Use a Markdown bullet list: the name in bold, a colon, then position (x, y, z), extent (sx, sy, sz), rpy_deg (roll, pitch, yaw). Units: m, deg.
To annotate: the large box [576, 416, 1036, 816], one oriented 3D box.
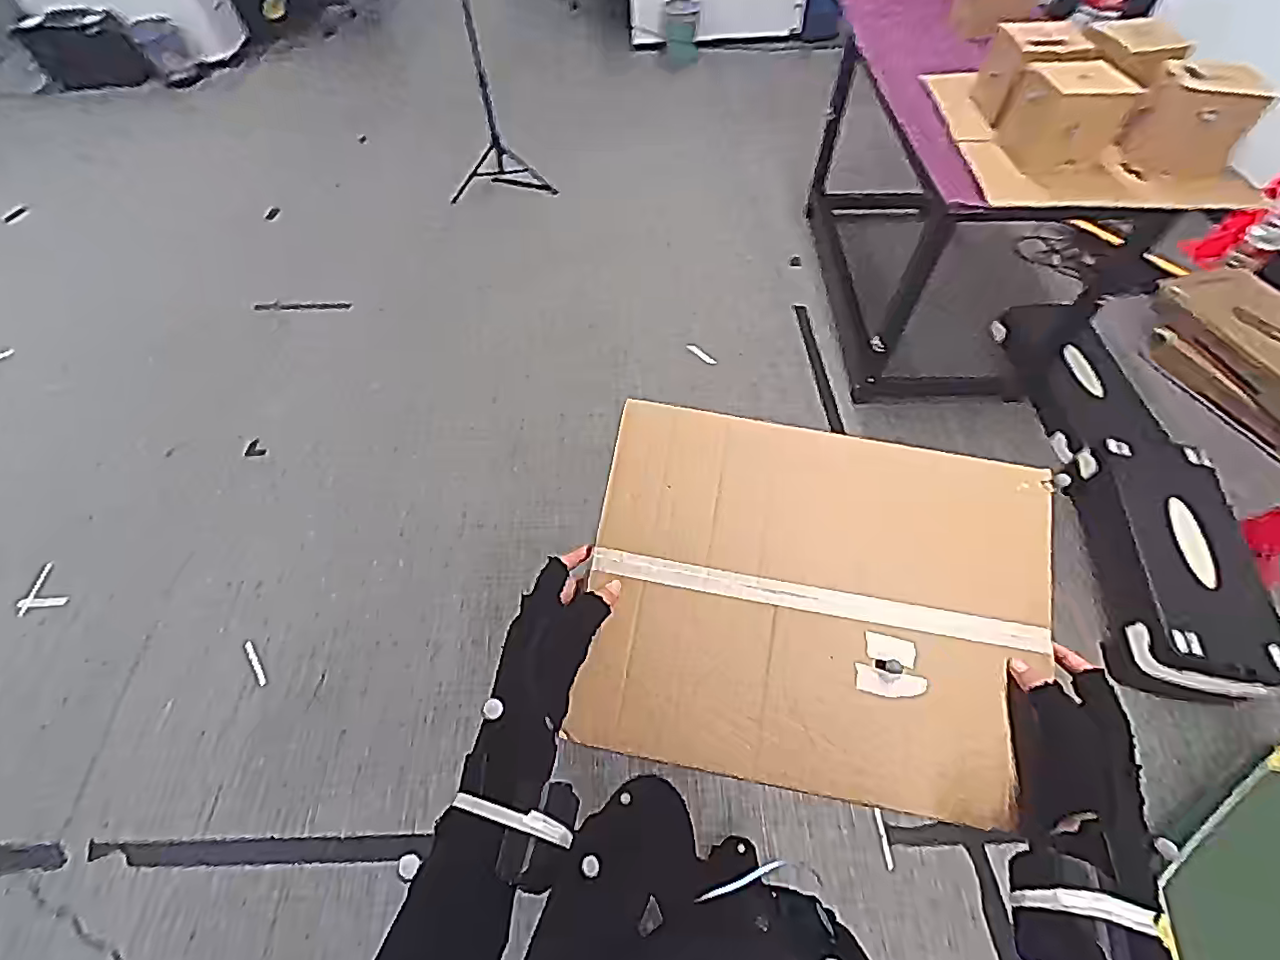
- **large box**: position (0.160, 0.145, 0.643), extent (0.408, 0.320, 0.320), rpy_deg (10, 78, 3)
